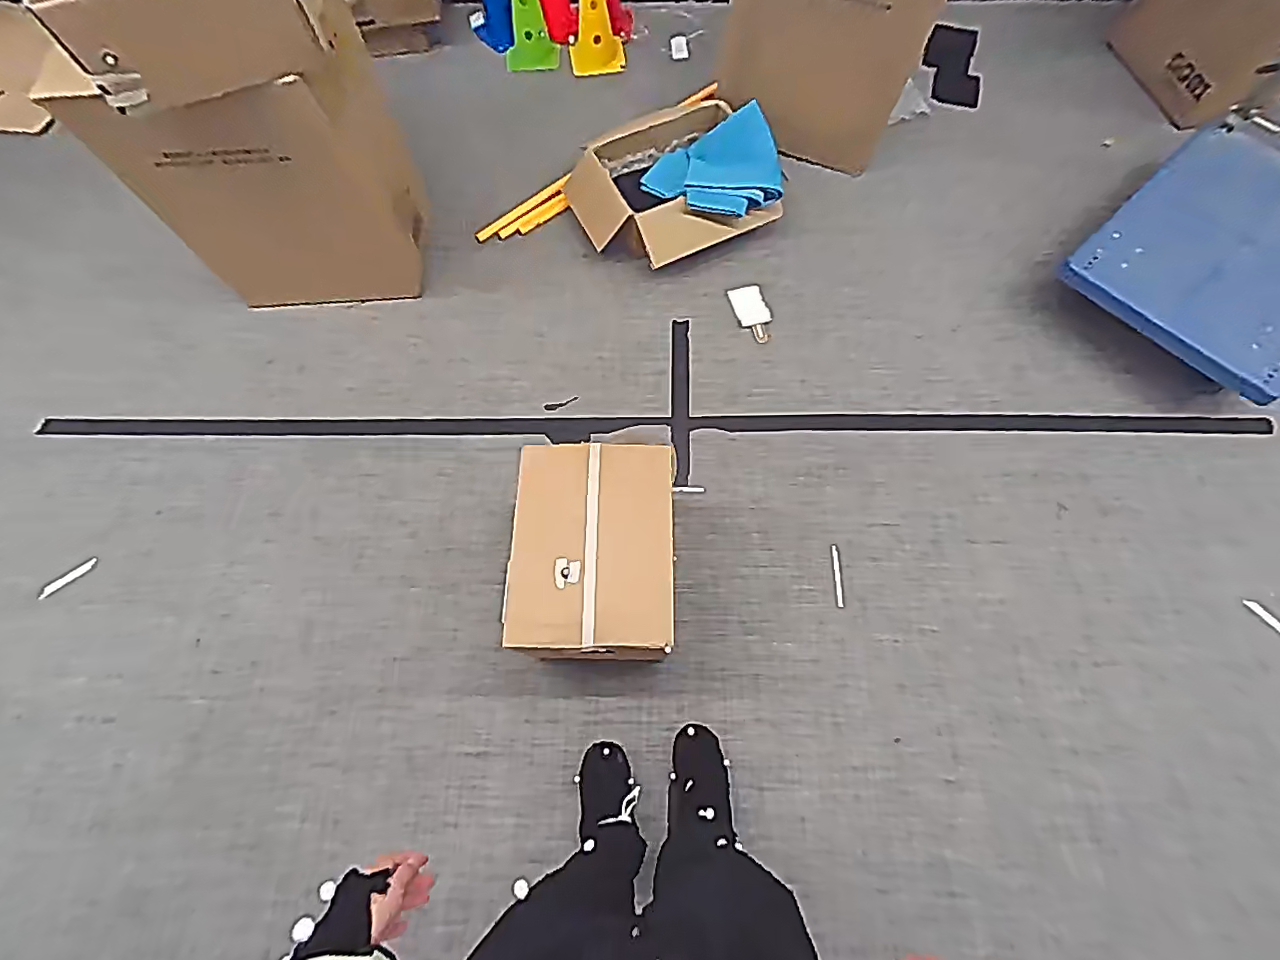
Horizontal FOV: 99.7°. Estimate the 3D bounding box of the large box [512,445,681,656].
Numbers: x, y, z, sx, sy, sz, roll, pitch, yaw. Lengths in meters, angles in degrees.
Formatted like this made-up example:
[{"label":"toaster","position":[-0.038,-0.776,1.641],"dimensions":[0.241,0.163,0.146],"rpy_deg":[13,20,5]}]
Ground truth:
[{"label":"large box","position":[-0.082,0.166,1.180],"dimensions":[0.320,0.320,0.408],"rpy_deg":[-1,69,1]}]
